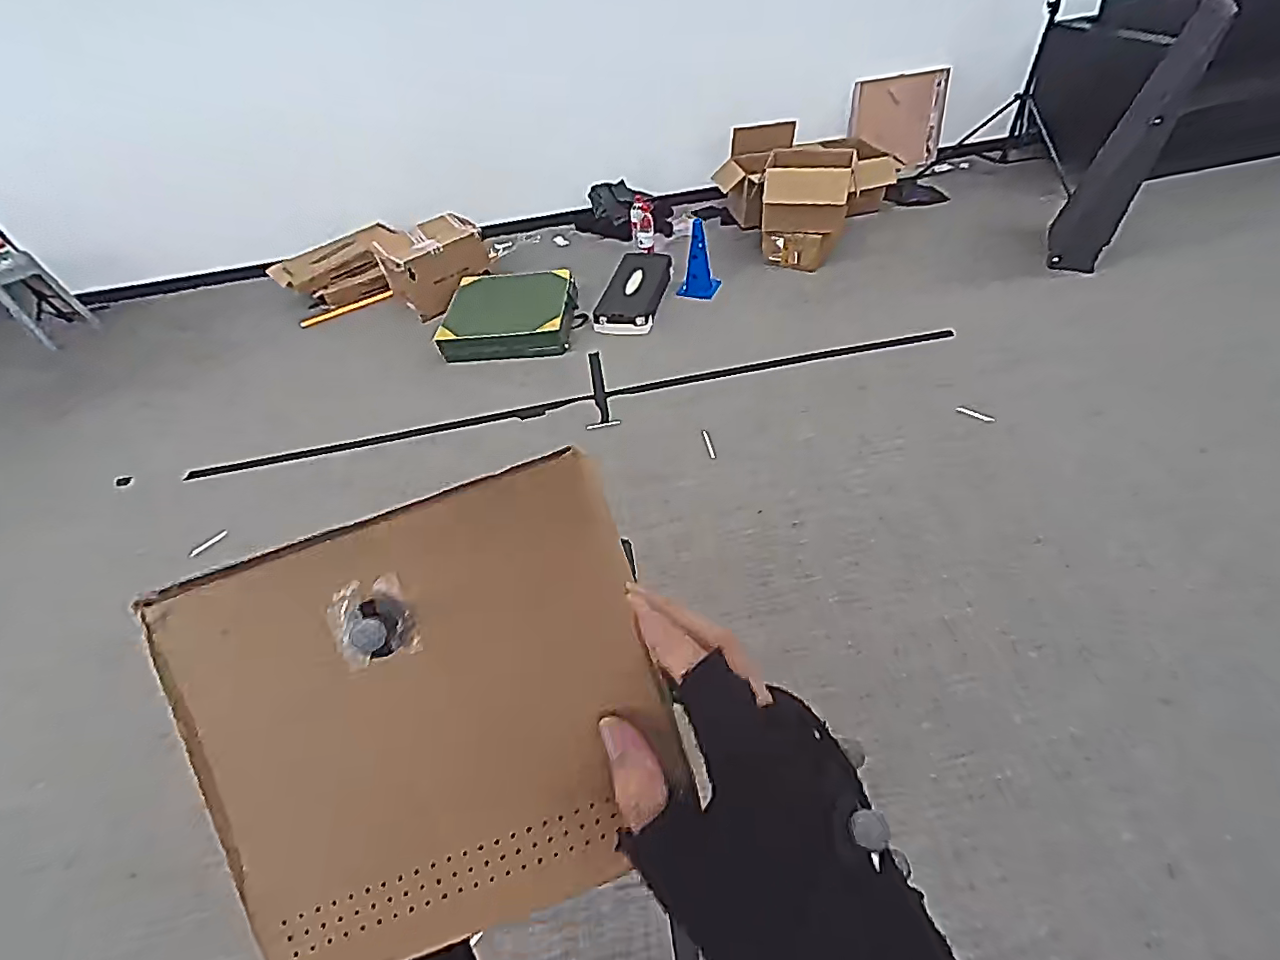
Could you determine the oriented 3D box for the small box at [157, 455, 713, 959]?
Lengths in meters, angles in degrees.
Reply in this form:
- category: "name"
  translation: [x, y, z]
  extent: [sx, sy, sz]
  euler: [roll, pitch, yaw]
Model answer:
- category: "small box"
  translation: [-0.081, 0.095, 0.288]
  extent: [0.179, 0.168, 0.176]
  euler: [-19, 92, -4]
